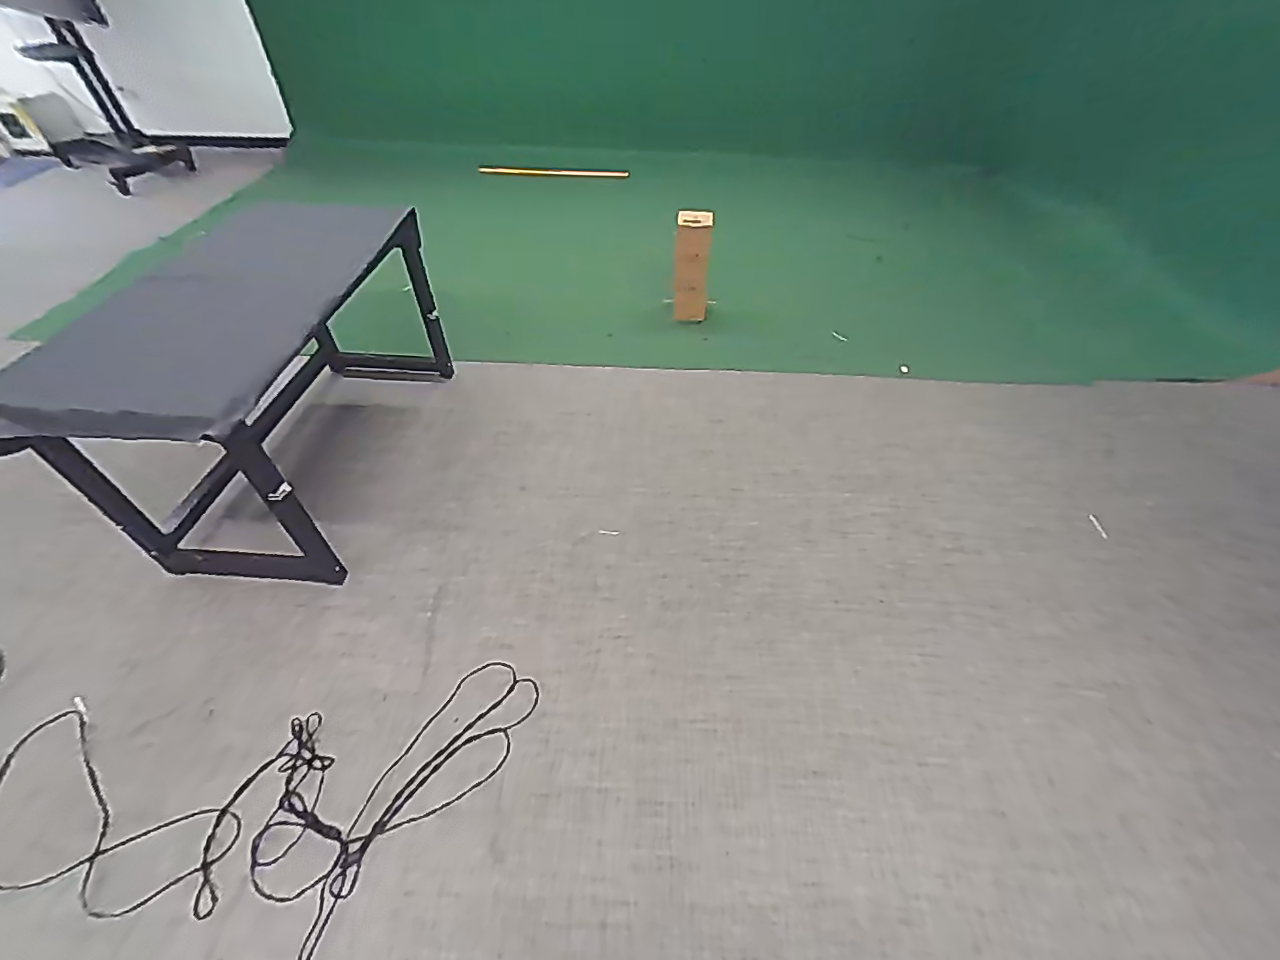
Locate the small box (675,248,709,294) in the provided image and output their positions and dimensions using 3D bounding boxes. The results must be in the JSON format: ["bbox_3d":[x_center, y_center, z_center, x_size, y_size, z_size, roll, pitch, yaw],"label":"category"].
[{"bbox_3d":[0.265,-1.073,2.774,0.168,0.176,0.179,3,46,4],"label":"small box"}]

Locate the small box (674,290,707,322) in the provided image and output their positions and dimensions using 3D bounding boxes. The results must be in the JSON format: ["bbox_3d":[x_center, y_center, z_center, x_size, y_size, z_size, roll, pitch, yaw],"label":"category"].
[{"bbox_3d":[0.270,-0.958,2.893,0.168,0.176,0.179,1,45,2],"label":"small box"}]
